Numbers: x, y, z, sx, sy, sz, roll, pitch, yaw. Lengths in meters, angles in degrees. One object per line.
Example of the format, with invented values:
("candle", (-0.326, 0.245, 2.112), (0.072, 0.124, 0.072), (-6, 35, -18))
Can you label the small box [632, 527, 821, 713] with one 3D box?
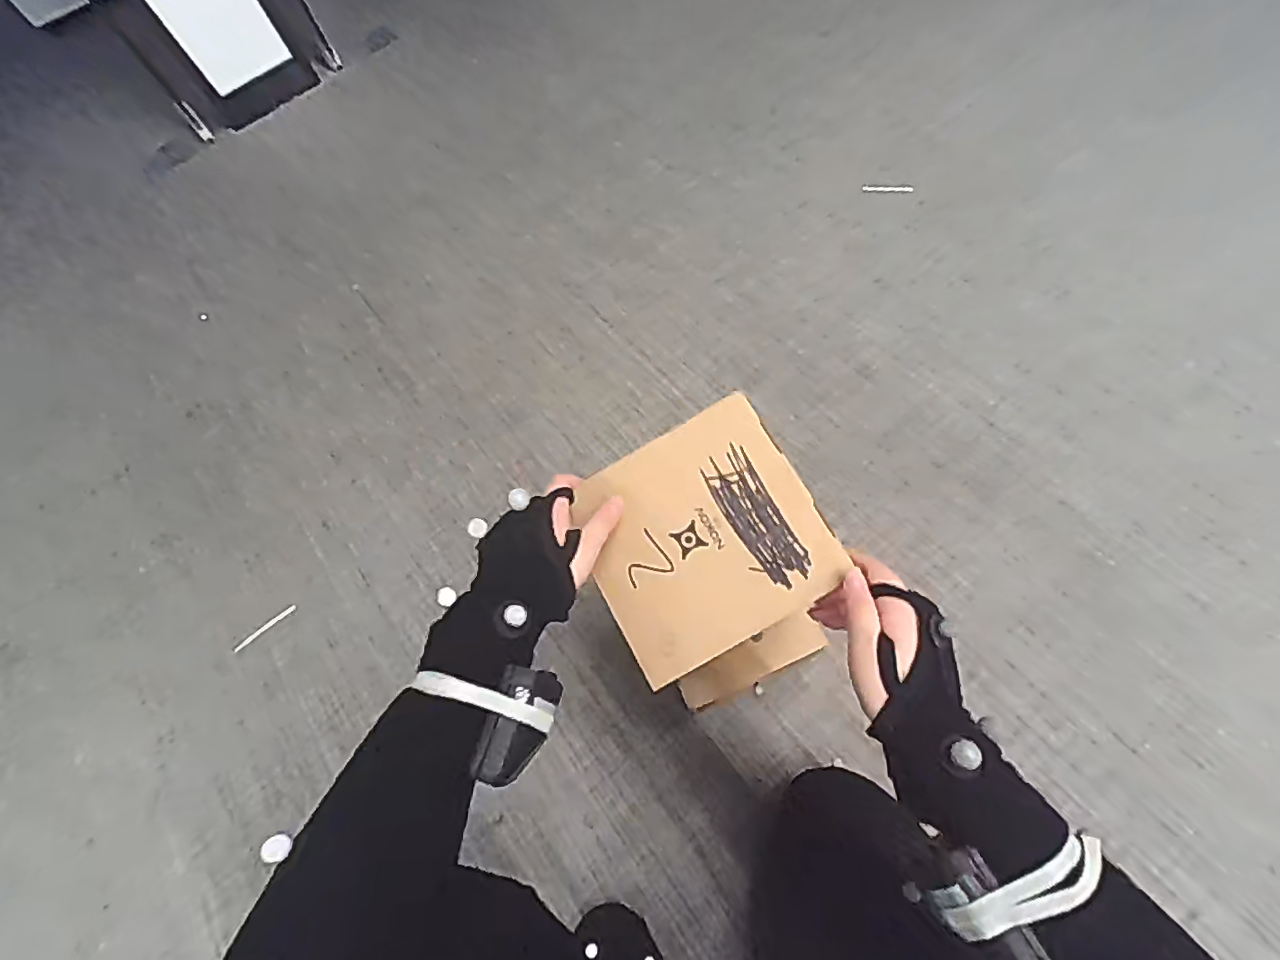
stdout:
("small box", (0.108, 0.192, 0.709), (0.179, 0.176, 0.168), (-23, 64, -4))
